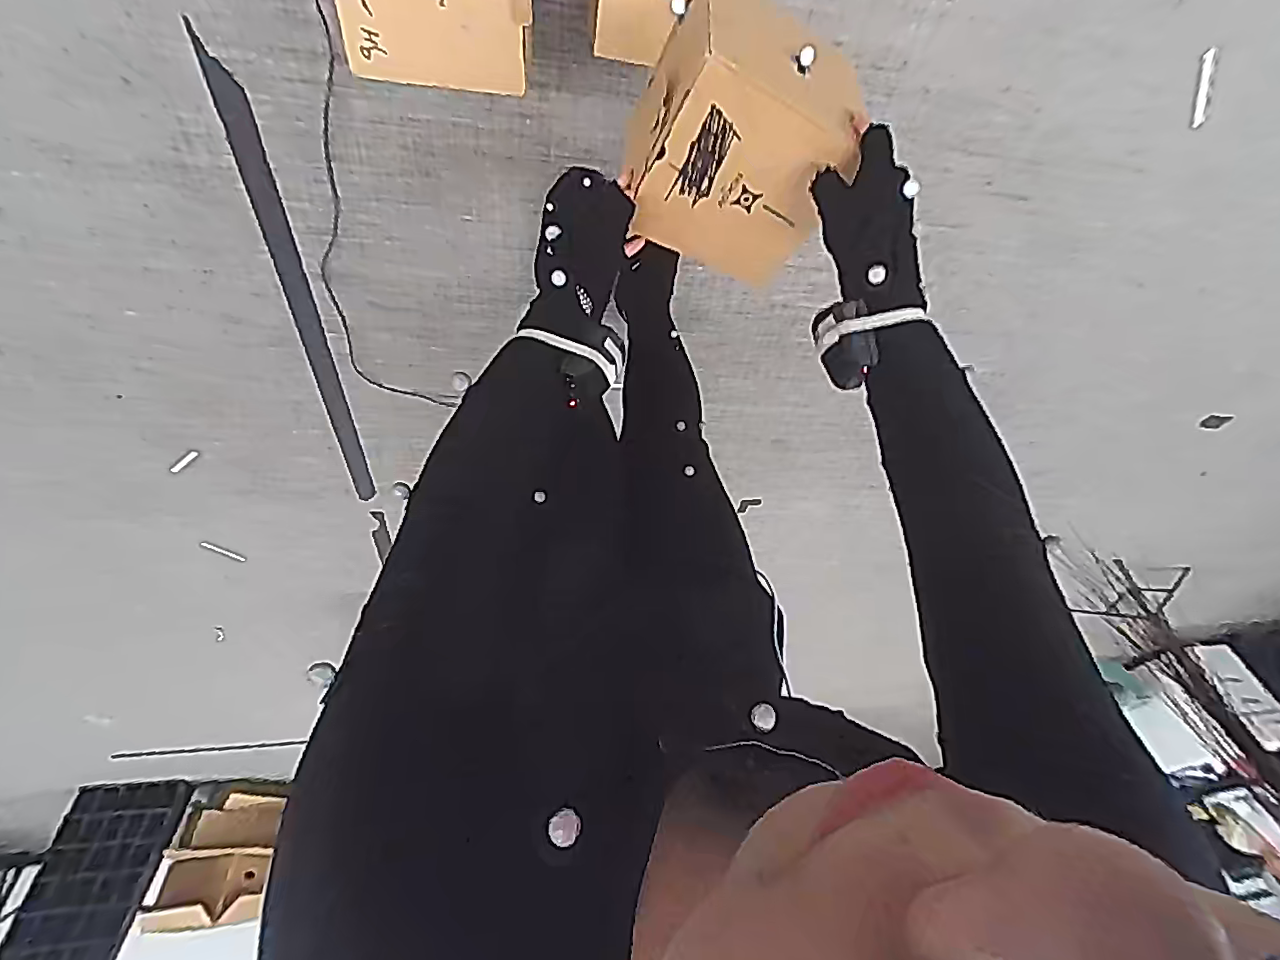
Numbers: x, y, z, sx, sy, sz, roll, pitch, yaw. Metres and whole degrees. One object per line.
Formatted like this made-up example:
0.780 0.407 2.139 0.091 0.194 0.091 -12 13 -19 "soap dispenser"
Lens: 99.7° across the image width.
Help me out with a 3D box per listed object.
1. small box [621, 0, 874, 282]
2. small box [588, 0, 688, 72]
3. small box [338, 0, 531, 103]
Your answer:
0.095 -0.341 0.539 0.179 0.176 0.168 14 150 -22 "small box"
0.029 -0.645 0.699 0.179 0.176 0.168 1 138 -13 "small box"
-0.201 -0.515 0.552 0.179 0.176 0.168 0 138 -10 "small box"
